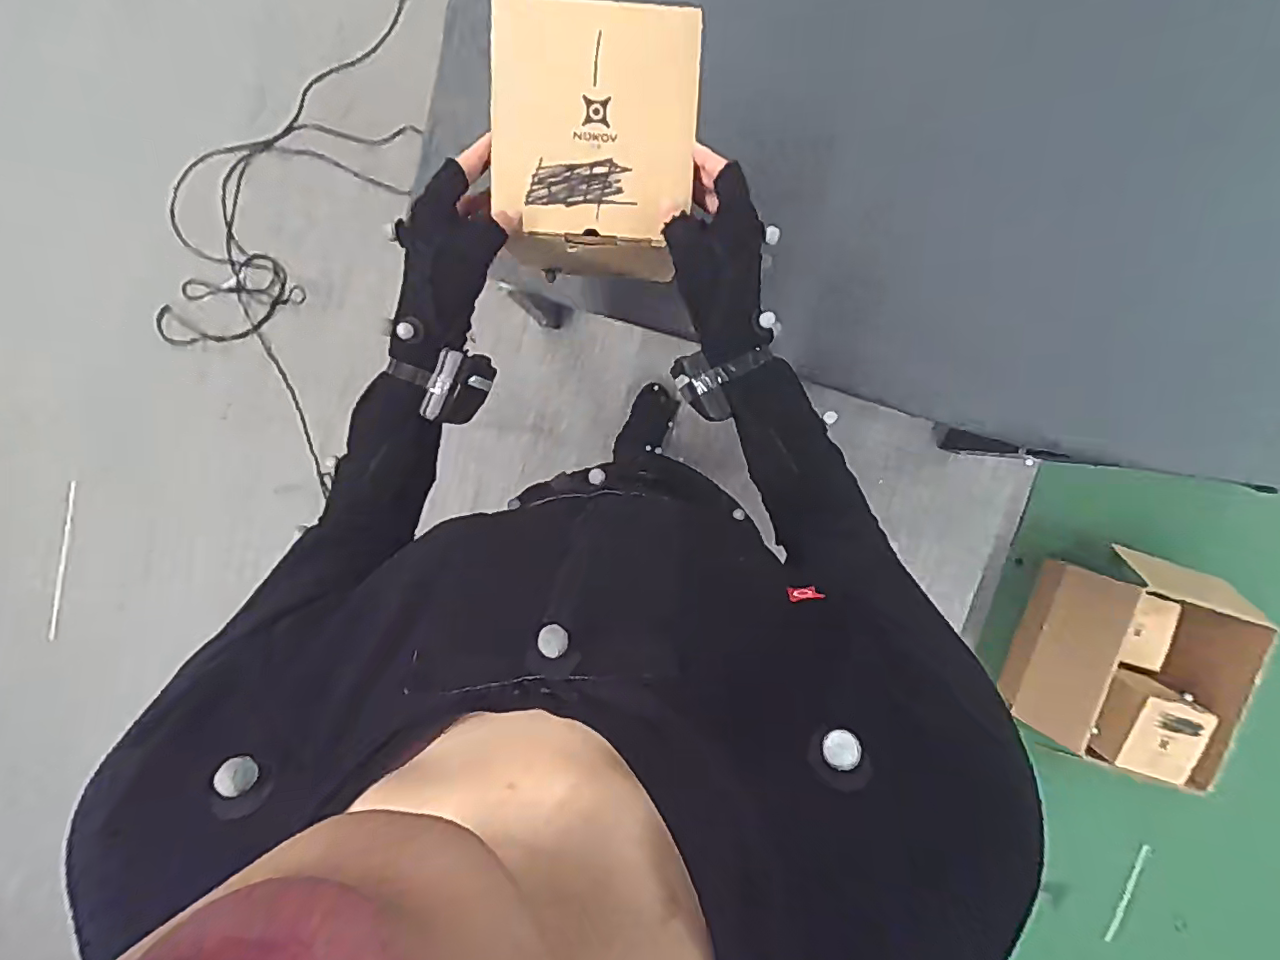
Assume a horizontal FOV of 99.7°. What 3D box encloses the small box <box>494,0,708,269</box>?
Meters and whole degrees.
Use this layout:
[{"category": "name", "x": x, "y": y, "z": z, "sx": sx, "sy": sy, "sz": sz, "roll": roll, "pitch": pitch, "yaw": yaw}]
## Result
[{"category": "small box", "x": -0.036, "y": -0.307, "z": 0.511, "sx": 0.168, "sy": 0.176, "sz": 0.179, "roll": 3, "pitch": 100, "yaw": -3}]
